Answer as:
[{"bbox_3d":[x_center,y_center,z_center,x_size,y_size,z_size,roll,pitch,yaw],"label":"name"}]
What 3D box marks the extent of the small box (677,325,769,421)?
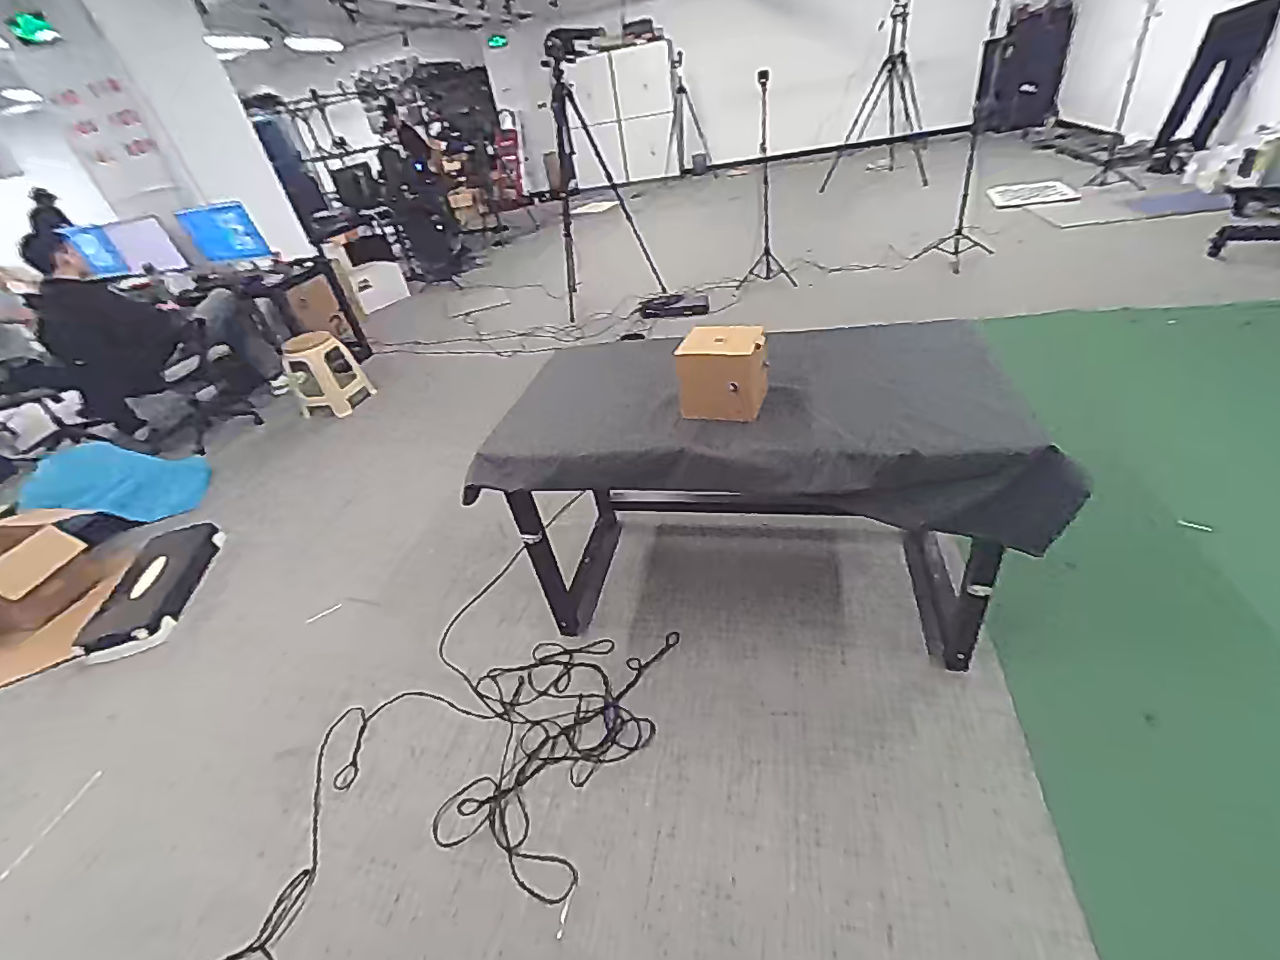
[{"bbox_3d":[0.202,-0.250,1.269,0.179,0.176,0.168,5,37,23],"label":"small box"}]
